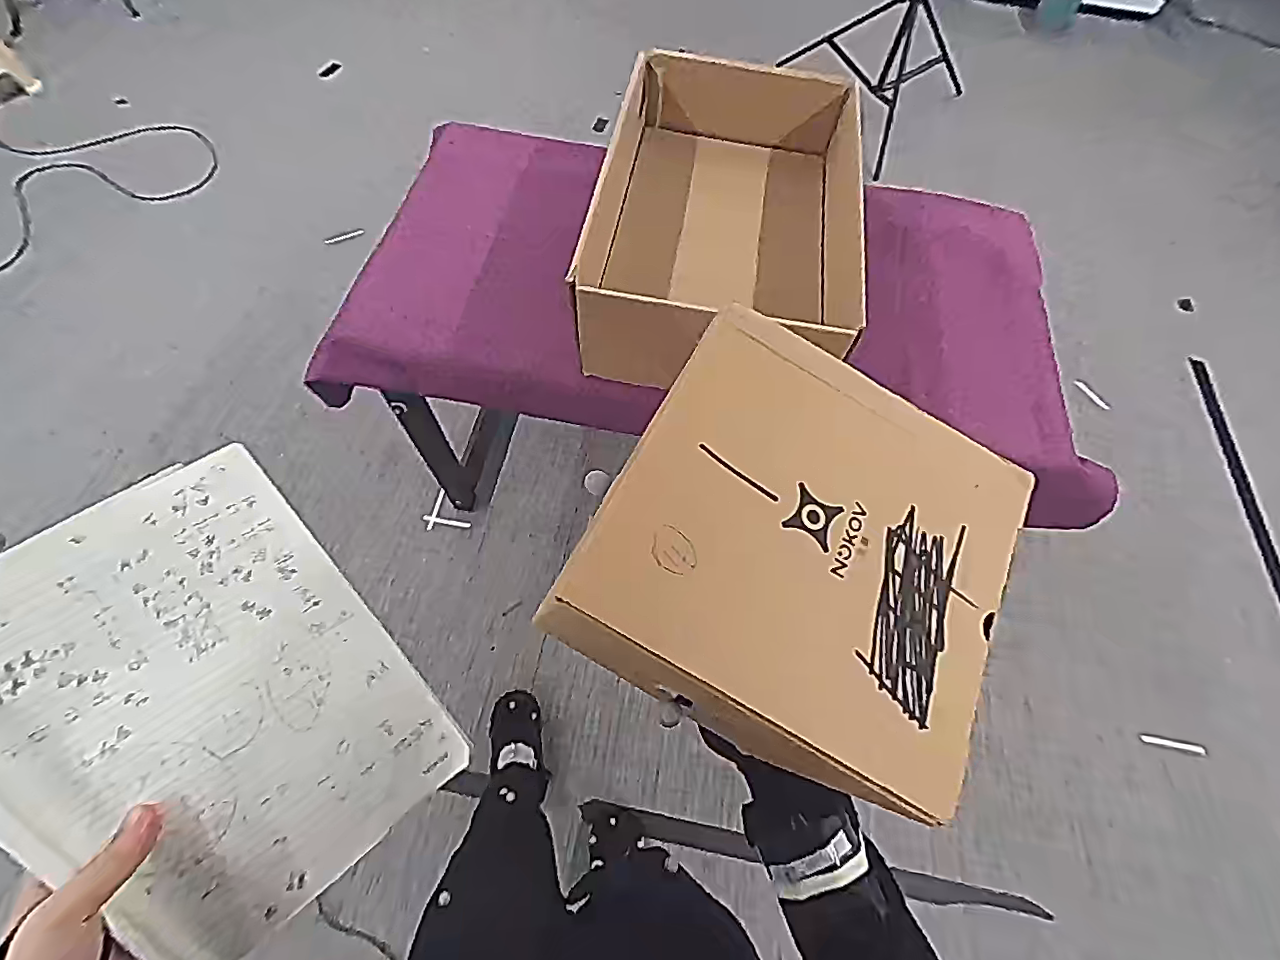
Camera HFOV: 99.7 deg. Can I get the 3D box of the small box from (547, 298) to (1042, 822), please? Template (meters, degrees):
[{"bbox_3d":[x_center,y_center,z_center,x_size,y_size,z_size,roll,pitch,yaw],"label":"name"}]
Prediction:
[{"bbox_3d":[0.065,0.045,0.304,0.179,0.176,0.168,32,67,-1],"label":"small box"}]
